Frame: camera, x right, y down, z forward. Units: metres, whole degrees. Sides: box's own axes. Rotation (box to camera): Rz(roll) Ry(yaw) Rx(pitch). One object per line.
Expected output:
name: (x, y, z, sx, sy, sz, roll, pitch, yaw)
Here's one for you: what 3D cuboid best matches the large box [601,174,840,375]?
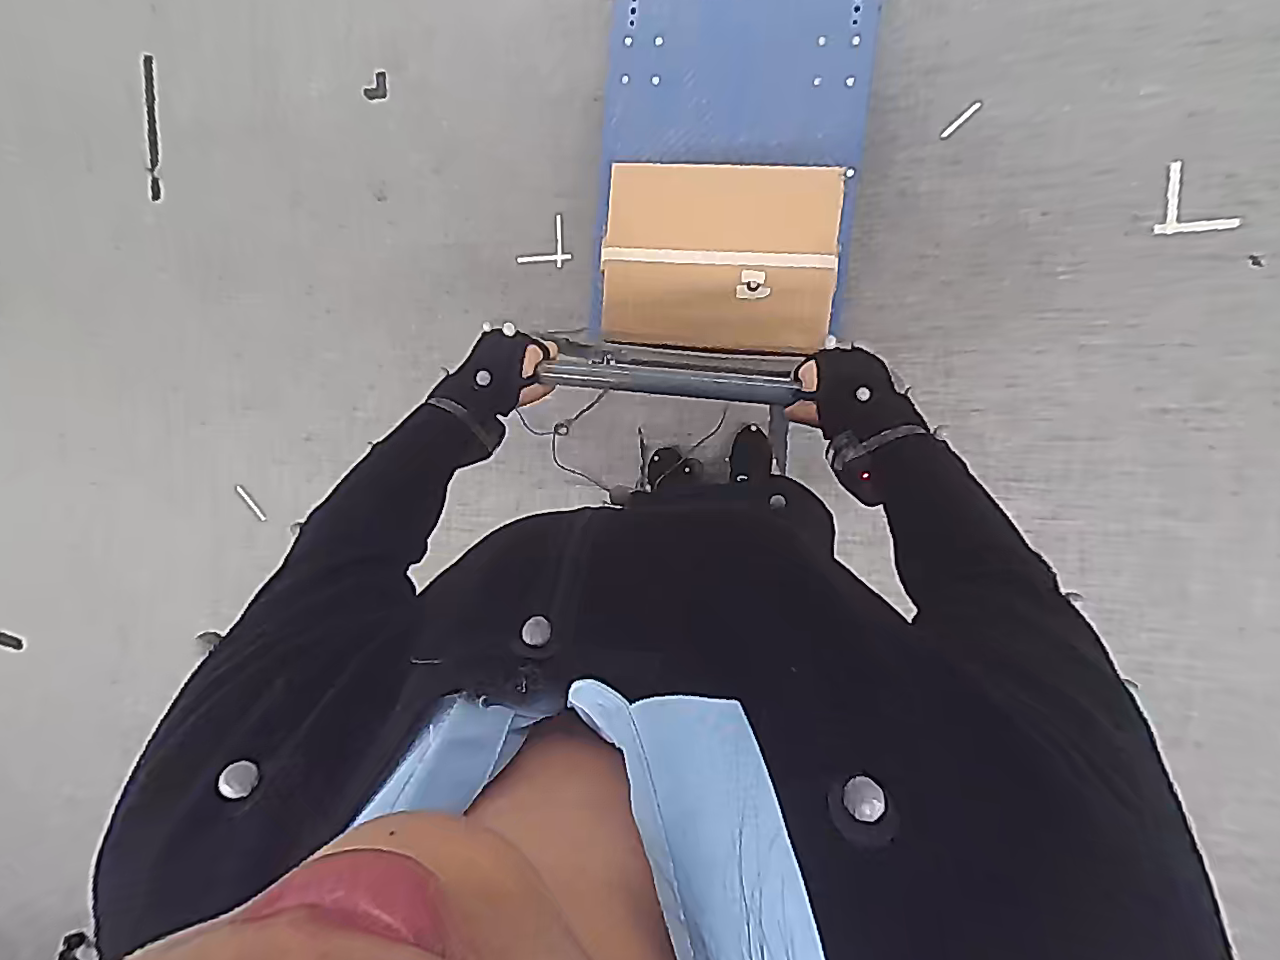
large box: (0.150, -0.390, 1.098, 0.408, 0.320, 0.320, 5, 98, 7)
